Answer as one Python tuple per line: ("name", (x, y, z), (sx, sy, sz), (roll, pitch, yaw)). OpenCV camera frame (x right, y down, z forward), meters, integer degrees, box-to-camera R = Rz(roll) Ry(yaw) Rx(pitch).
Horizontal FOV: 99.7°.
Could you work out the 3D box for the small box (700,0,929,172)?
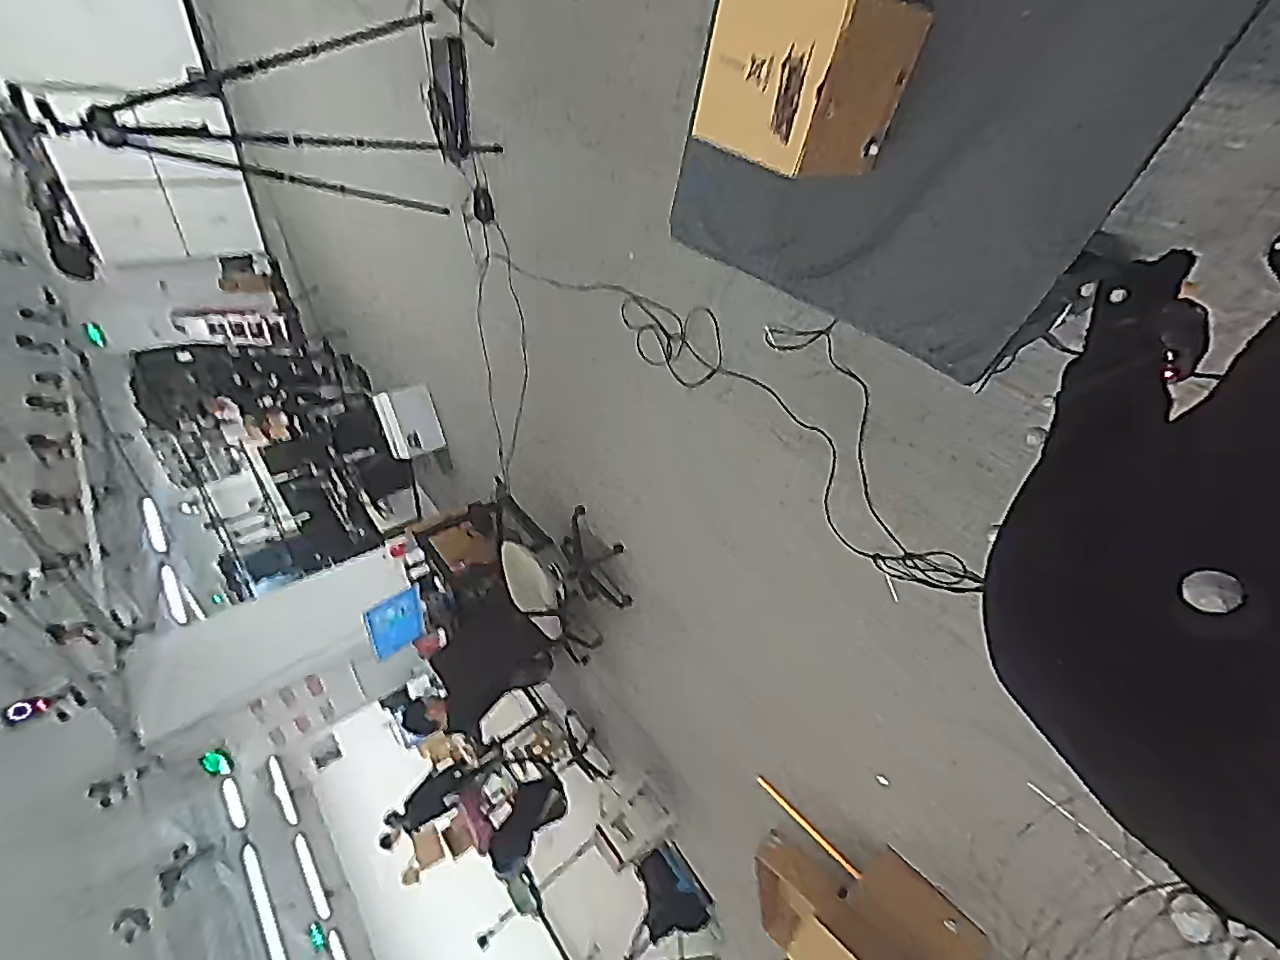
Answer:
("small box", (0.206, -0.493, 0.655), (0.179, 0.176, 0.168), (44, 140, 30))
